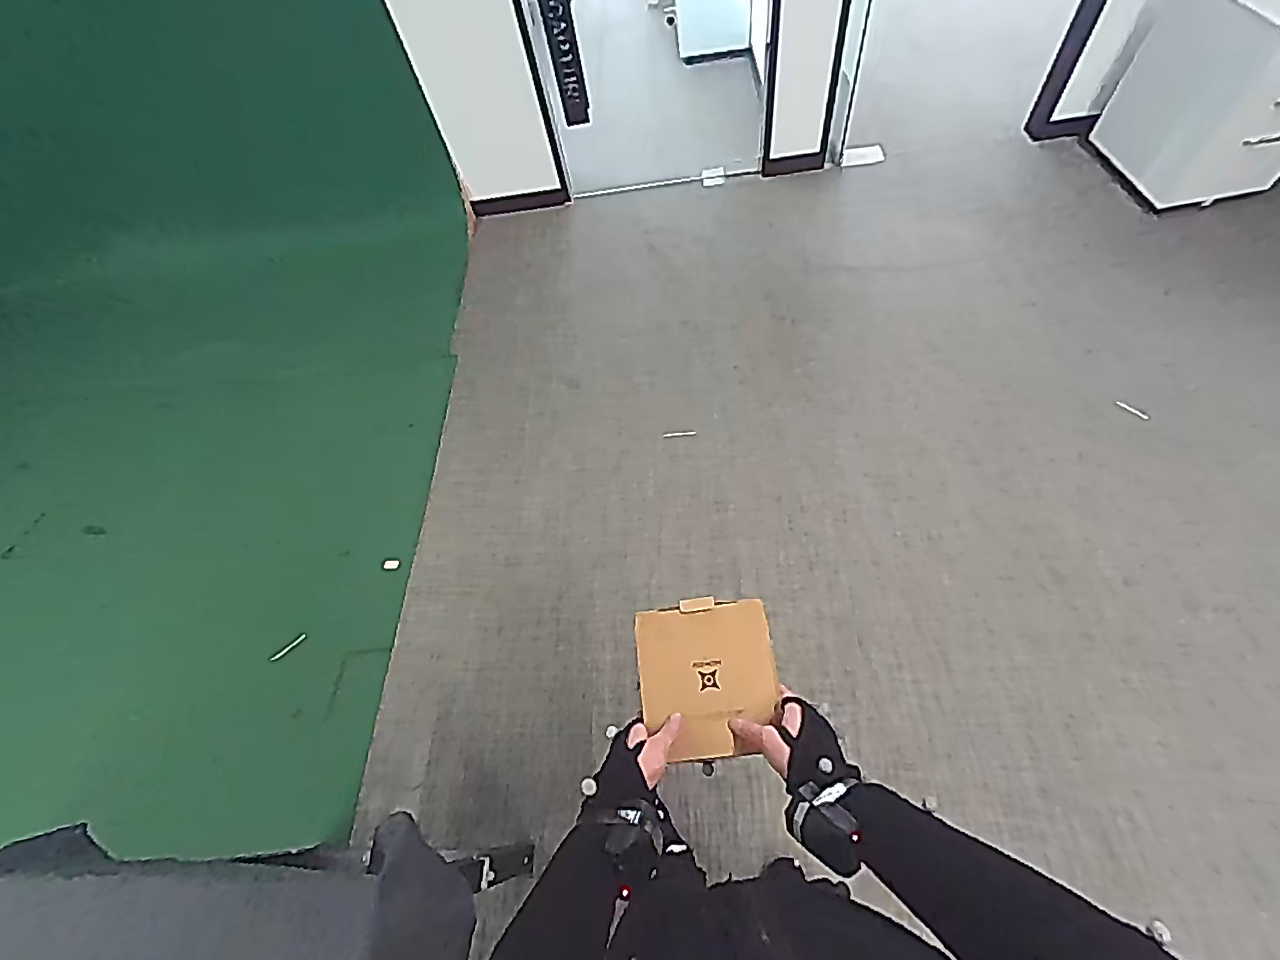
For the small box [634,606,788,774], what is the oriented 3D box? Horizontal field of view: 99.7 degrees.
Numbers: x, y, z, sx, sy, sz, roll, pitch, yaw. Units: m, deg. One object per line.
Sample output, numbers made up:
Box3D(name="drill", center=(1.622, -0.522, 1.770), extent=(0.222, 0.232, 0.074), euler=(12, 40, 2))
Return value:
Box3D(name="small box", center=(0.084, 0.276, 0.699), extent=(0.168, 0.176, 0.179), euler=(-6, 61, 4))
